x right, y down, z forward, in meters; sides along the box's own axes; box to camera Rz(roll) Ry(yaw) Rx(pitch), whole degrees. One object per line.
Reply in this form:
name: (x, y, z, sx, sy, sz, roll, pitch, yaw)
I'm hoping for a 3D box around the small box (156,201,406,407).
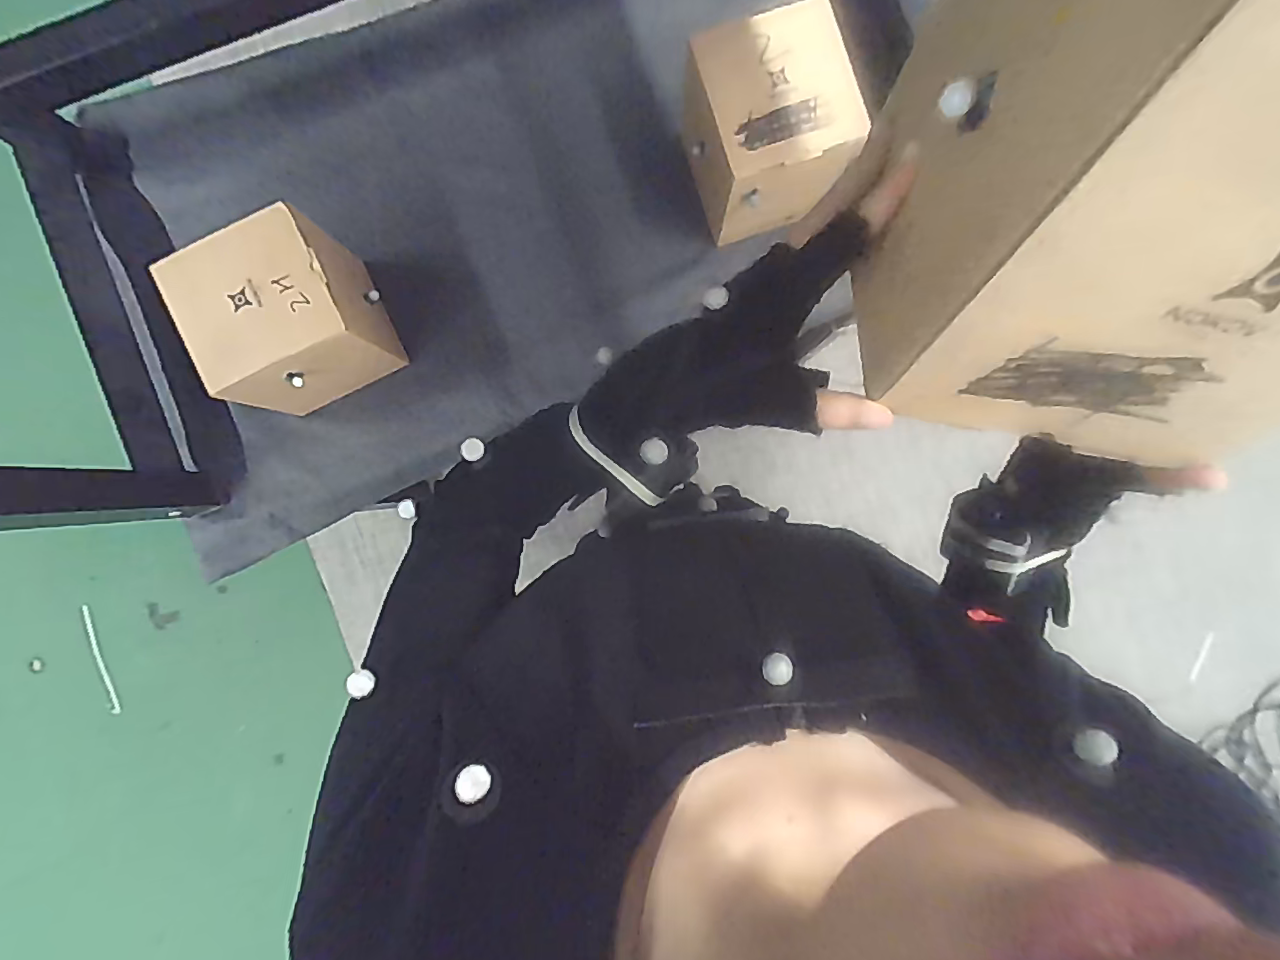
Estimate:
small box: (-0.441, -0.208, 0.693, 0.179, 0.176, 0.168, -25, 89, 0)
